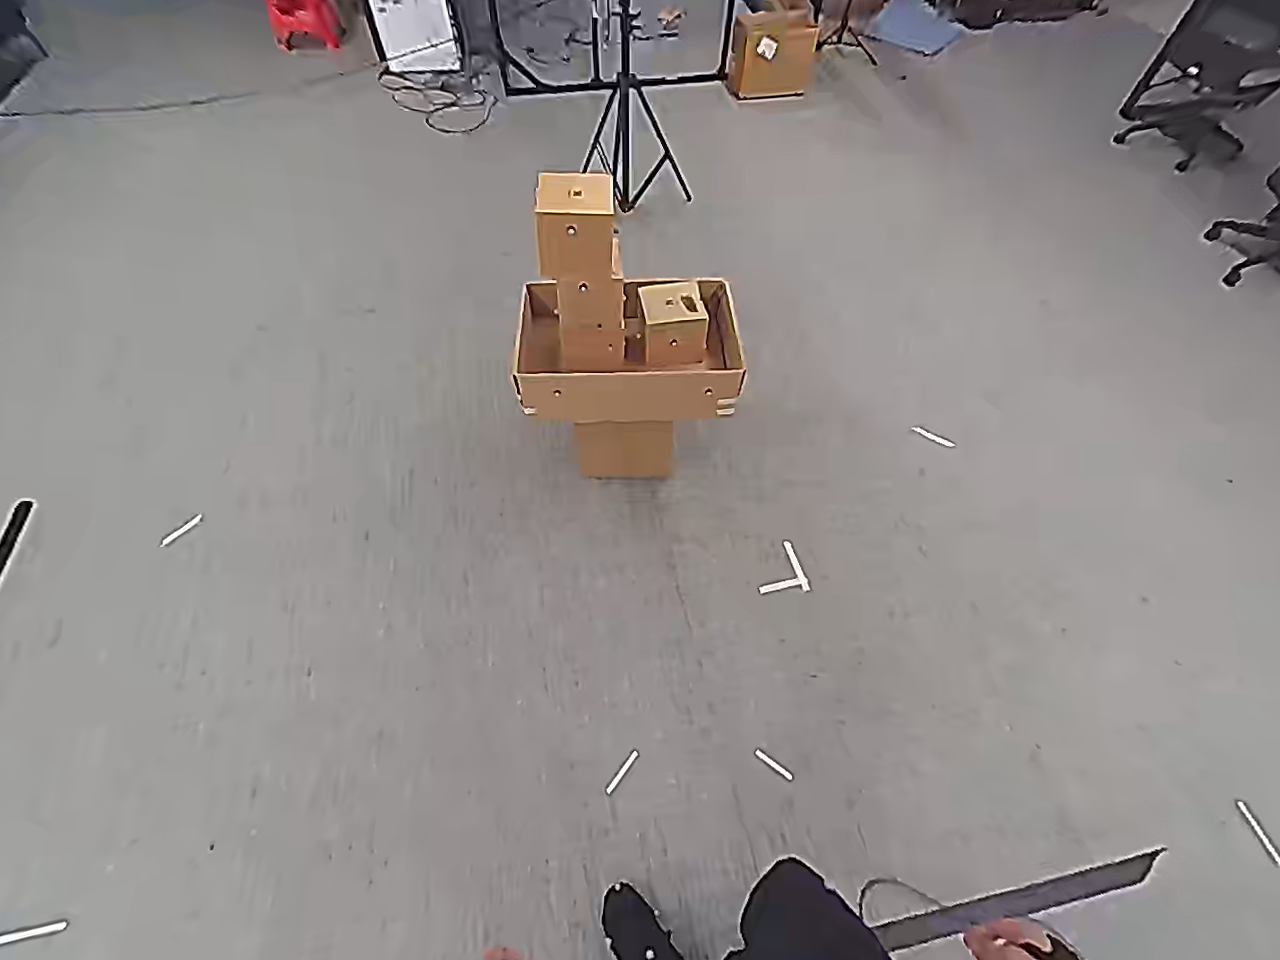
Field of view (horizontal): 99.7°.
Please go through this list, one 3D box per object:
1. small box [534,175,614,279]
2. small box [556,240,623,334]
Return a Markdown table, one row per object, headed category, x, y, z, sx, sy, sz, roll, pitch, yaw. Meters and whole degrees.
| category | x | y | z | sx | sy | sz | roll | pitch | yaw |
| --- | --- | --- | --- | --- | --- | --- | --- | --- | --- |
| small box | -0.152 | -0.596 | 1.287 | 0.179 | 0.176 | 0.168 | -1 | 57 | -4 |
| small box | -0.134 | -0.508 | 1.424 | 0.168 | 0.176 | 0.179 | -4 | 56 | -5 |
